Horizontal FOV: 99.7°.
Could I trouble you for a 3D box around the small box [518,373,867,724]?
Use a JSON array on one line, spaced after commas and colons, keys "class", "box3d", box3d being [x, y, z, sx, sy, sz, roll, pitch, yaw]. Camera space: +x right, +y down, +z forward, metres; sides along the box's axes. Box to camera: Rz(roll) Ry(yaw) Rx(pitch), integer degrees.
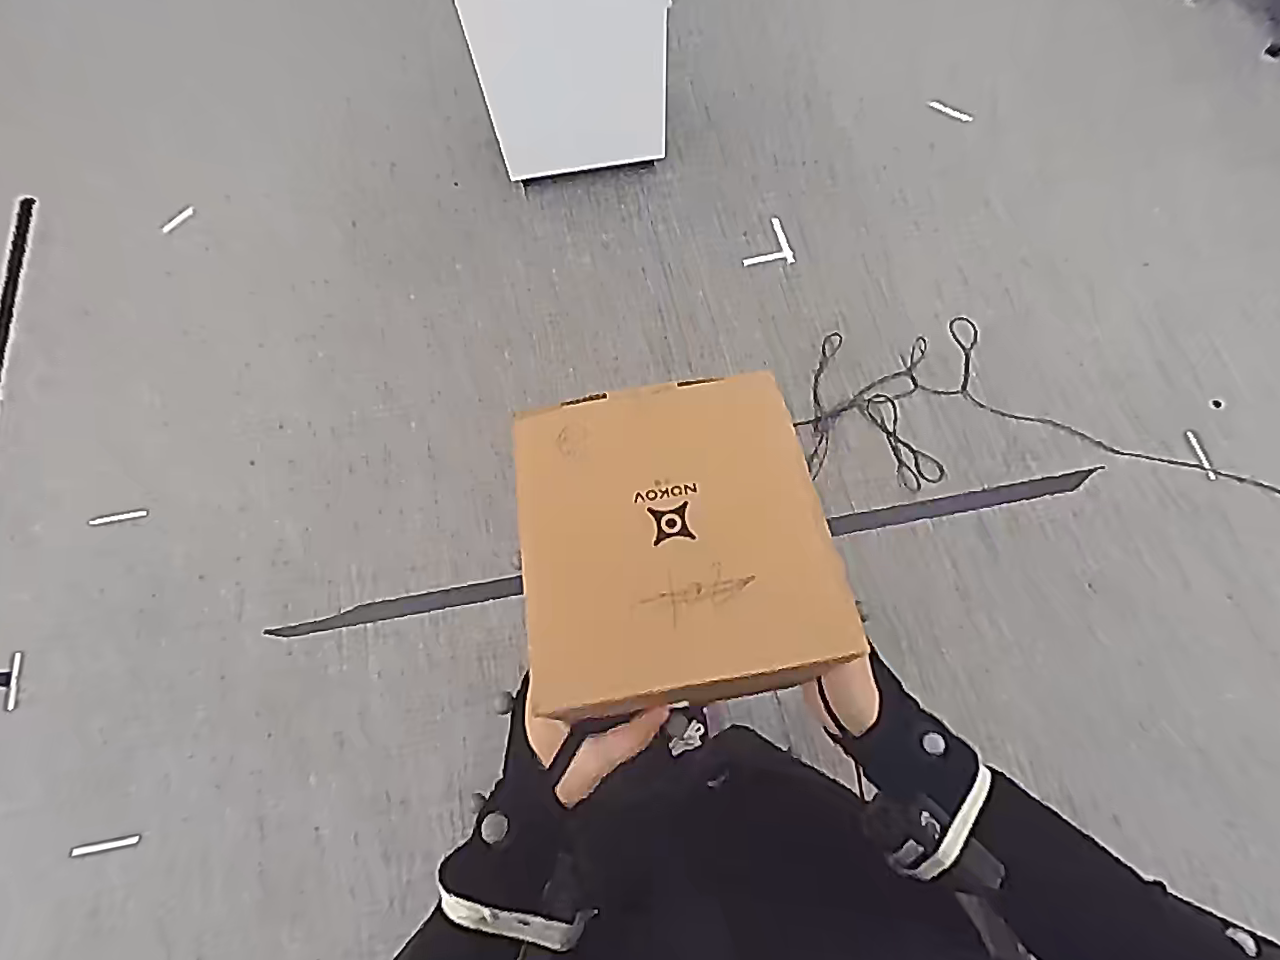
[{"class": "small box", "box3d": [0.019, 0.056, 0.366, 0.168, 0.176, 0.179, -9, 64, -2]}]
